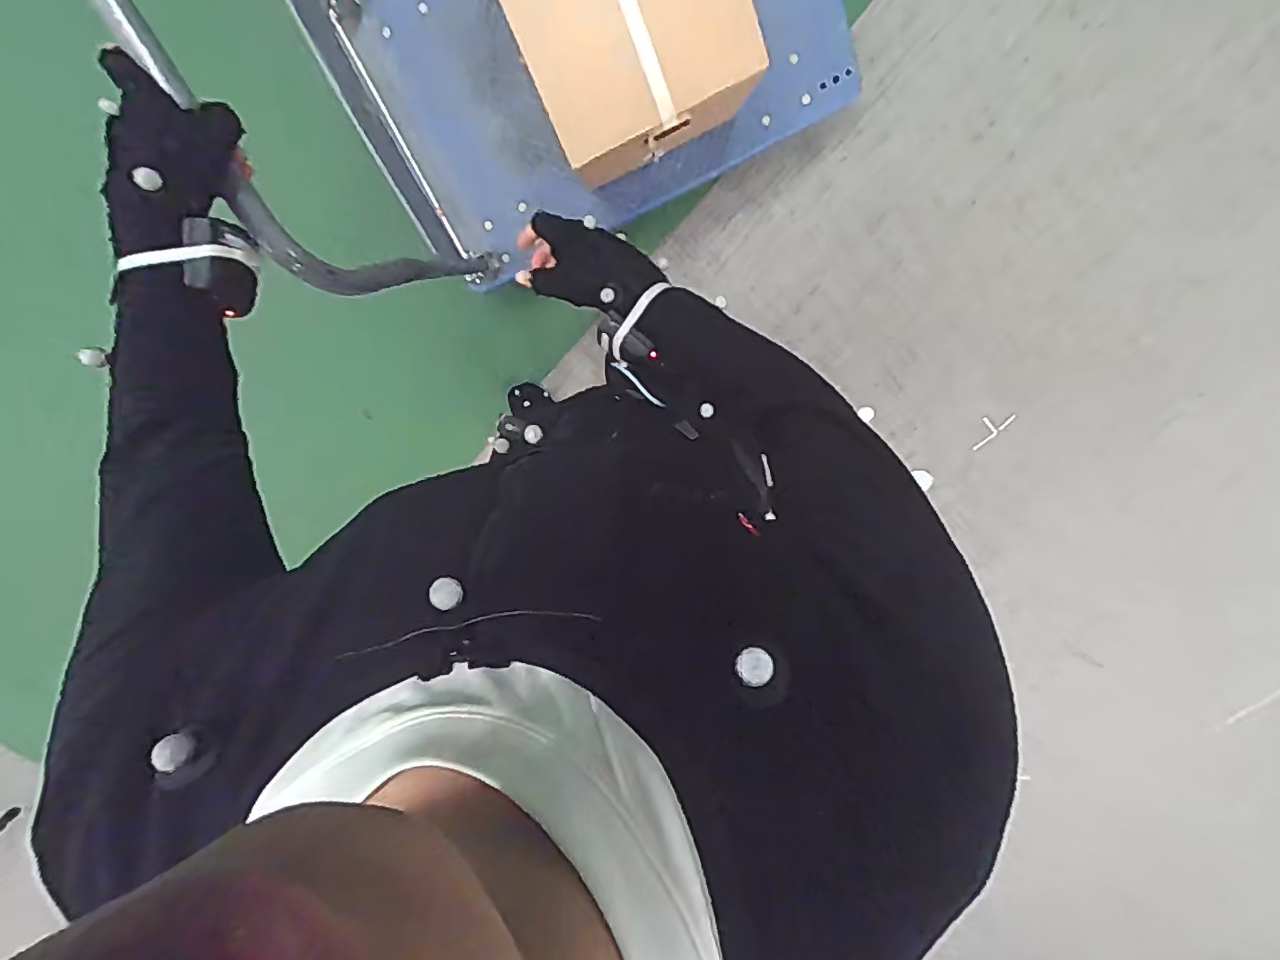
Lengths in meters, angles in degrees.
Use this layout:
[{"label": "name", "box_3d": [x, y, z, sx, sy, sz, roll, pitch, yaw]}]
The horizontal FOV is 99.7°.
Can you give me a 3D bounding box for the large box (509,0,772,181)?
[{"label": "large box", "box_3d": [-0.030, -0.760, 0.849, 0.320, 0.320, 0.408, -22, 110, 9]}]
